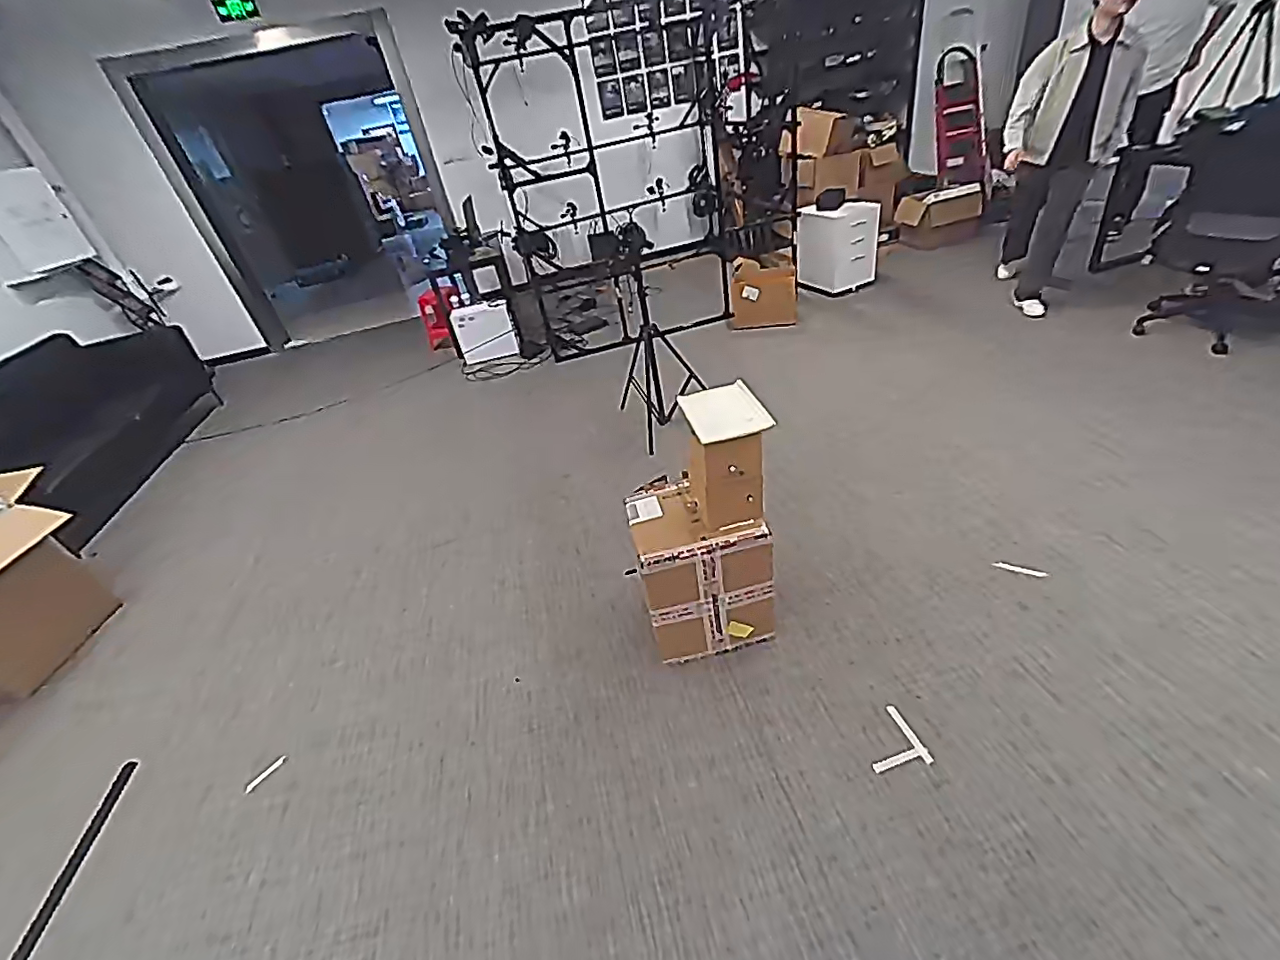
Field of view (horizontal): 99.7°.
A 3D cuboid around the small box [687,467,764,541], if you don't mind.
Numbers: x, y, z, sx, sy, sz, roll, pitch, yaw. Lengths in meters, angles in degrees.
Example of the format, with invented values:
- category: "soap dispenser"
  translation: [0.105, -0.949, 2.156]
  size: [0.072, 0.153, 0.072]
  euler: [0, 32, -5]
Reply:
- category: "small box"
  translation: [0.250, 0.054, 1.594]
  size: [0.179, 0.176, 0.168]
  euler: [-15, 36, -7]

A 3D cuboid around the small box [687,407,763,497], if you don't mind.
- category: "small box"
  translation: [0.232, -0.078, 1.499]
  size: [0.168, 0.176, 0.179]
  euler: [-13, 37, -5]
